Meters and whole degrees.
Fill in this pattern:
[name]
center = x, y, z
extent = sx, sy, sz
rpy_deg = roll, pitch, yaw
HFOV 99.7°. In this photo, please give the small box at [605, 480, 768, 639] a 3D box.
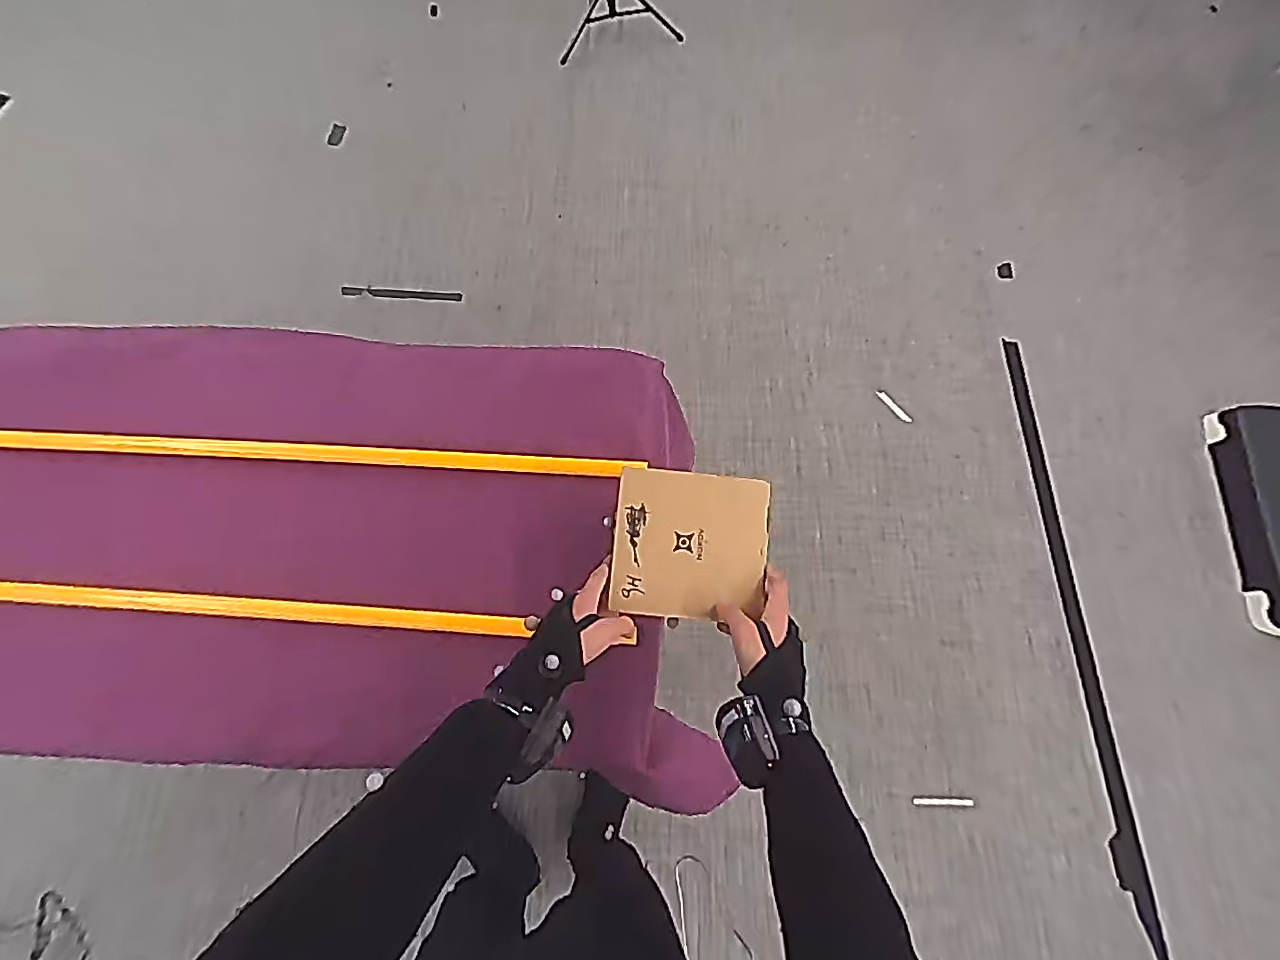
[small box]
center = 0.051, 0.104, 0.696
extent = 0.179, 0.176, 0.168
rpy_deg = 7, 78, -2
